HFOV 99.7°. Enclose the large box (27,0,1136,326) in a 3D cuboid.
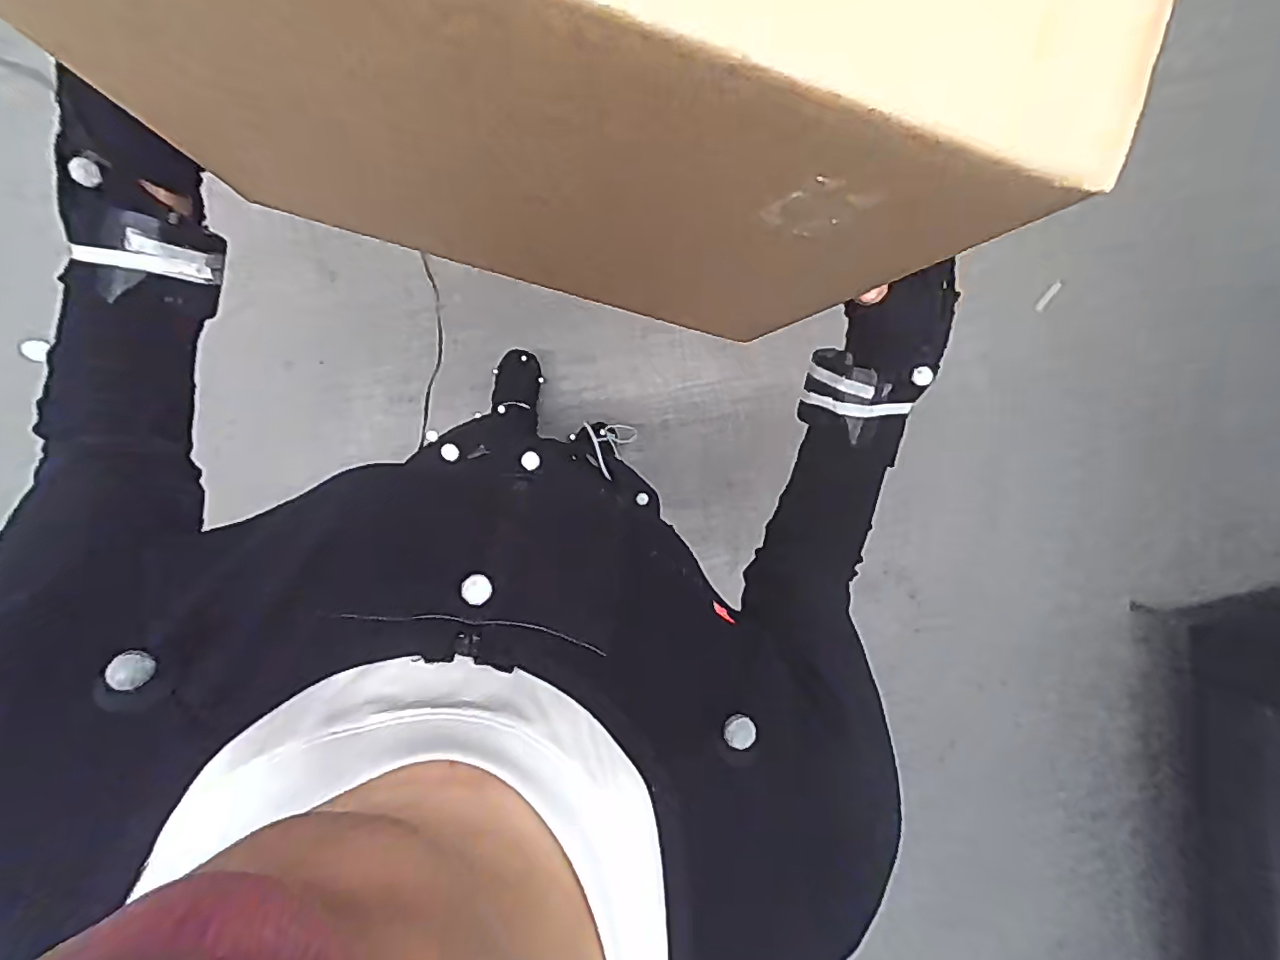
[{"bbox_3d":[-0.035,-0.304,0.281,0.408,0.320,0.320,12,94,-11],"label":"large box"}]
